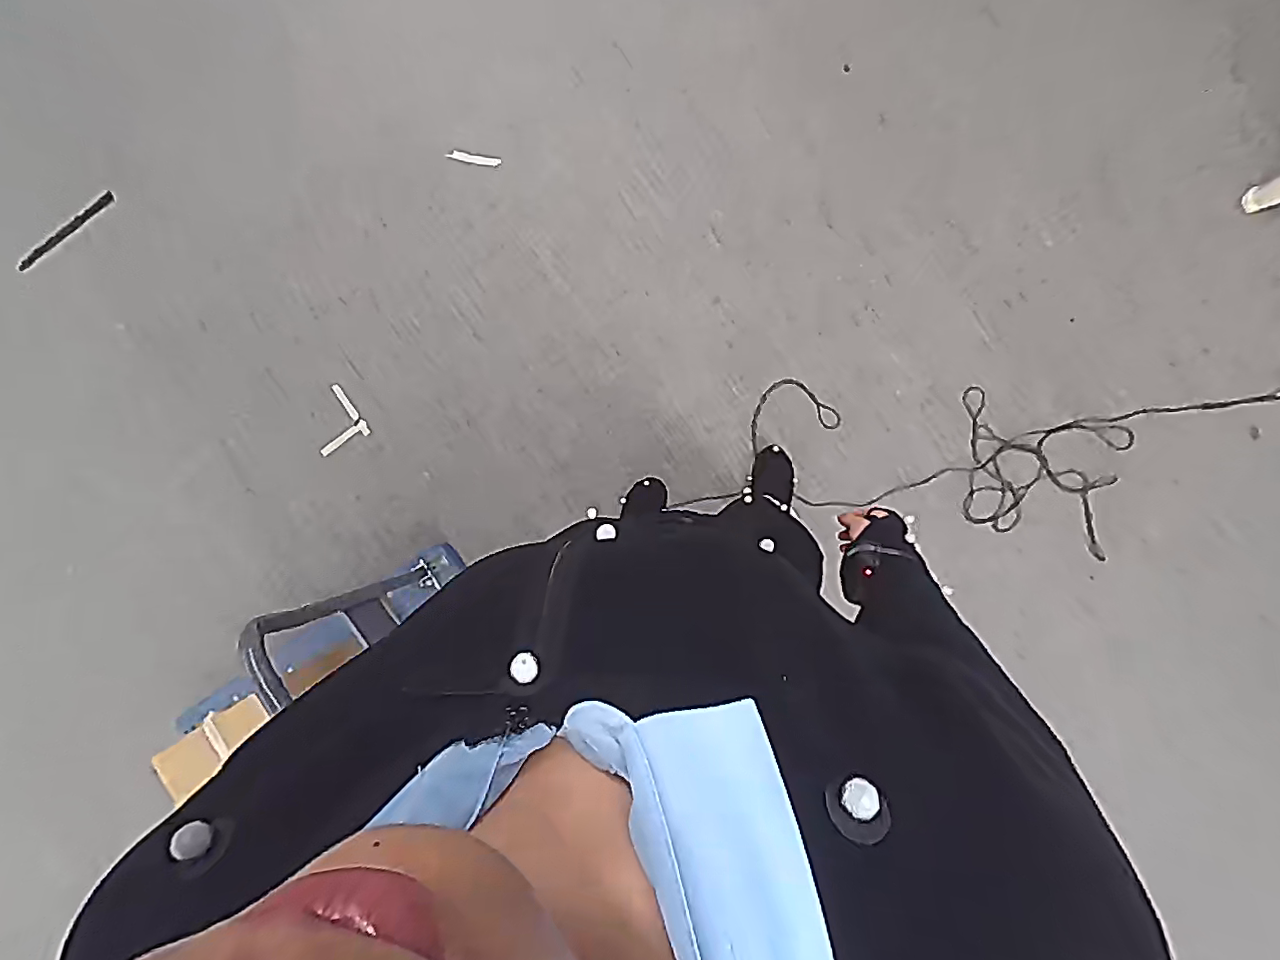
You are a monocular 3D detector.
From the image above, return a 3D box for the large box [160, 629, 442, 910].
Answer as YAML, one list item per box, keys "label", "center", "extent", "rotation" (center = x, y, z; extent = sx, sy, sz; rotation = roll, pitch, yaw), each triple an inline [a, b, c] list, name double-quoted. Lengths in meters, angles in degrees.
- label: "large box"
  center: [-0.738, 0.623, 1.236]
  extent: [0.320, 0.320, 0.408]
  rotation: [-32, 89, 4]
